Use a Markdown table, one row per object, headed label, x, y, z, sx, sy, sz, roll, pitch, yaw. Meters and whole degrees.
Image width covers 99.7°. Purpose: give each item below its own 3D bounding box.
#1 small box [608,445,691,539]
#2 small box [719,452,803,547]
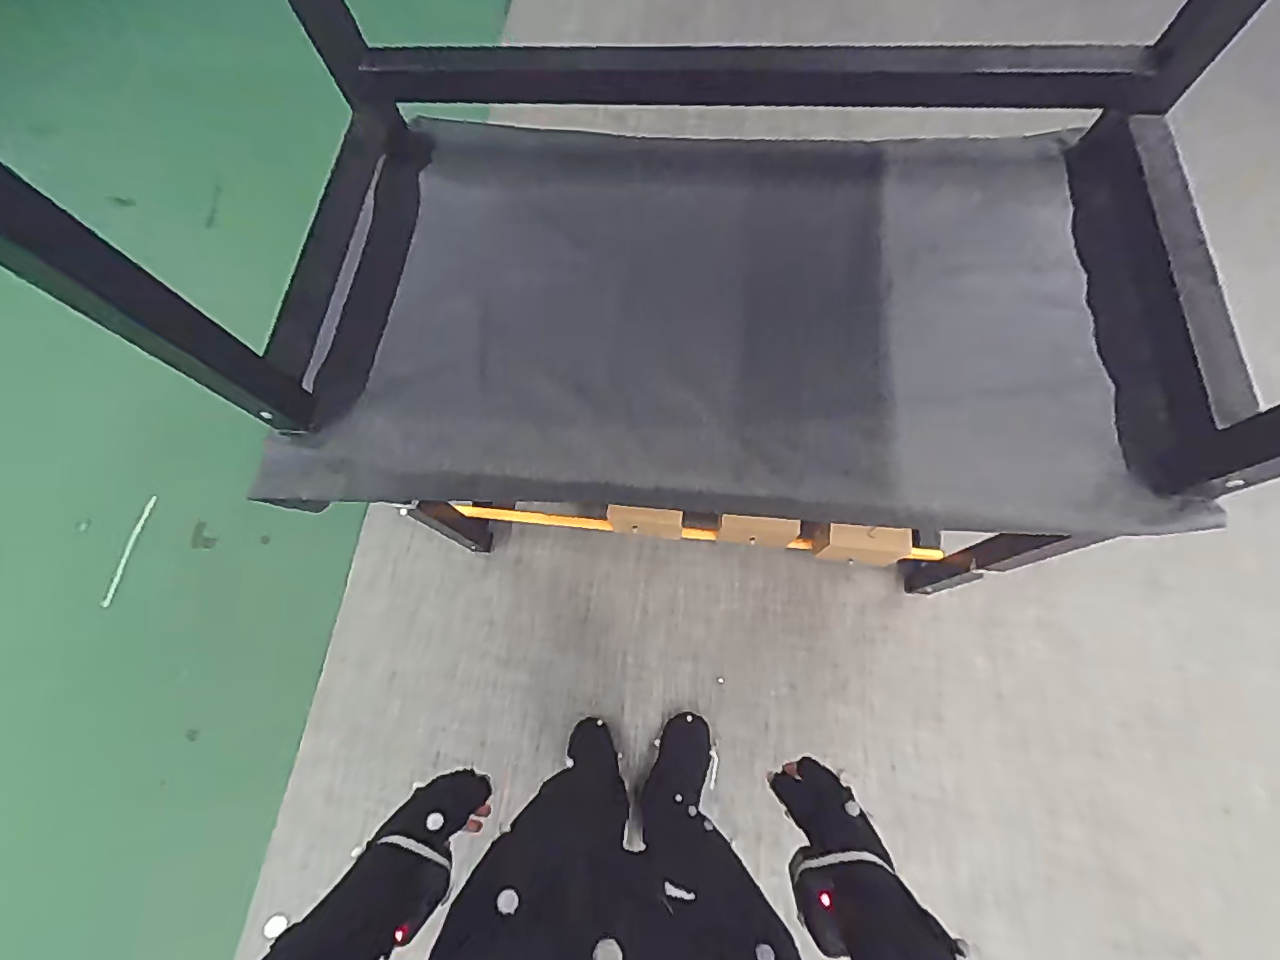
| label | x | y | z | sx | sy | sz | roll | pitch | yaw |
| --- | --- | --- | --- | --- | --- | --- | --- | --- | --- |
| small box | 0.028 | 0.034 | 1.263 | 0.168 | 0.176 | 0.179 | 6 | 72 | 5 |
| small box | 0.272 | 0.050 | 1.238 | 0.168 | 0.176 | 0.179 | 4 | 72 | 6 |
